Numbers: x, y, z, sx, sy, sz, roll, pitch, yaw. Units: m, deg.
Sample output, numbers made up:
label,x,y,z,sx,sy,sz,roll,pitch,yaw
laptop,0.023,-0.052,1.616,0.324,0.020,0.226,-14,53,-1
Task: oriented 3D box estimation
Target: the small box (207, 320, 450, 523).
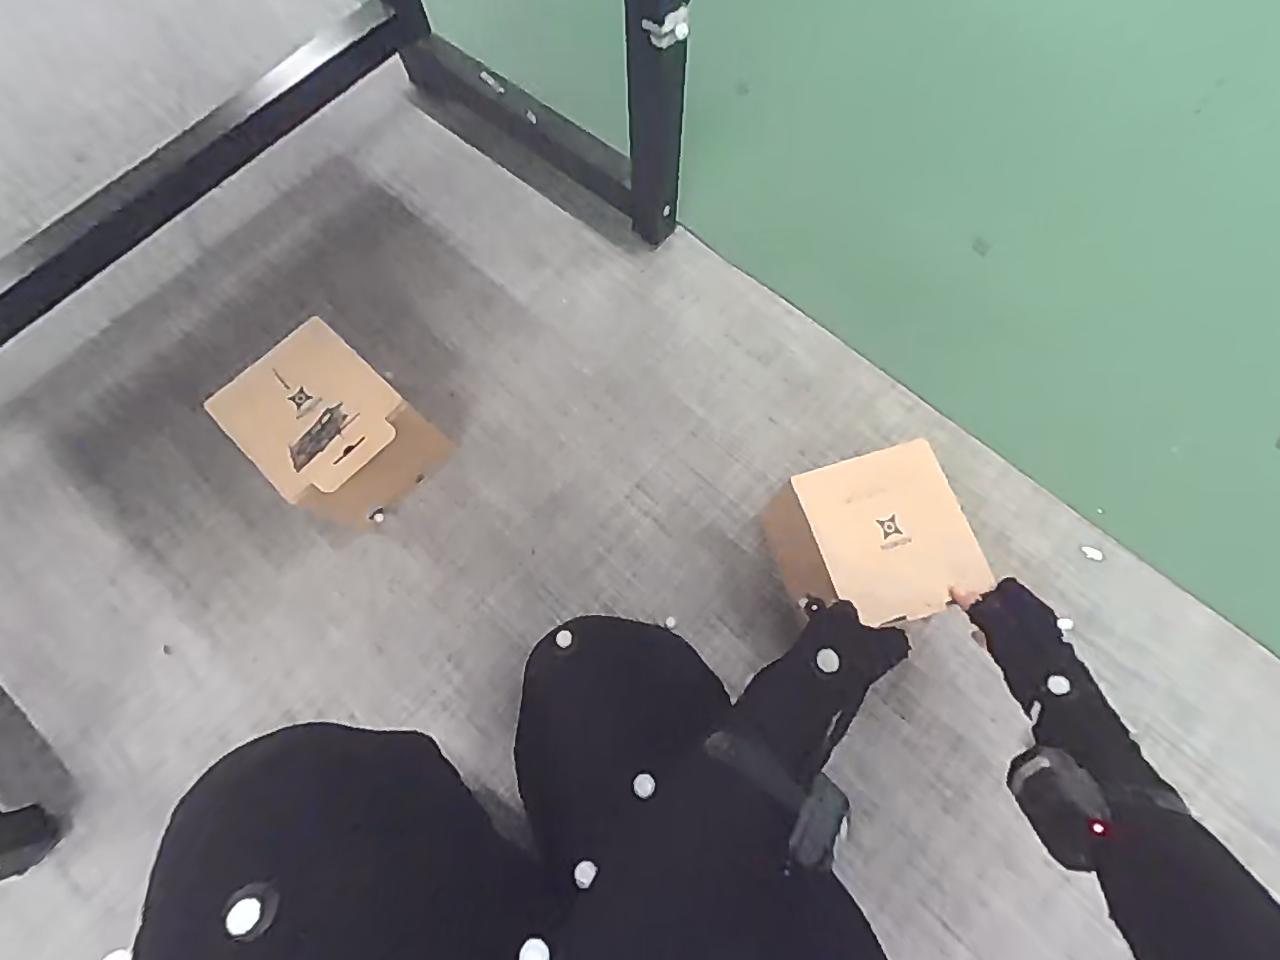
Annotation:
label,x,y,z,sx,sy,sz,roll,pitch,yaw
small box,-0.381,-0.061,0.696,0.179,0.176,0.168,42,78,13
